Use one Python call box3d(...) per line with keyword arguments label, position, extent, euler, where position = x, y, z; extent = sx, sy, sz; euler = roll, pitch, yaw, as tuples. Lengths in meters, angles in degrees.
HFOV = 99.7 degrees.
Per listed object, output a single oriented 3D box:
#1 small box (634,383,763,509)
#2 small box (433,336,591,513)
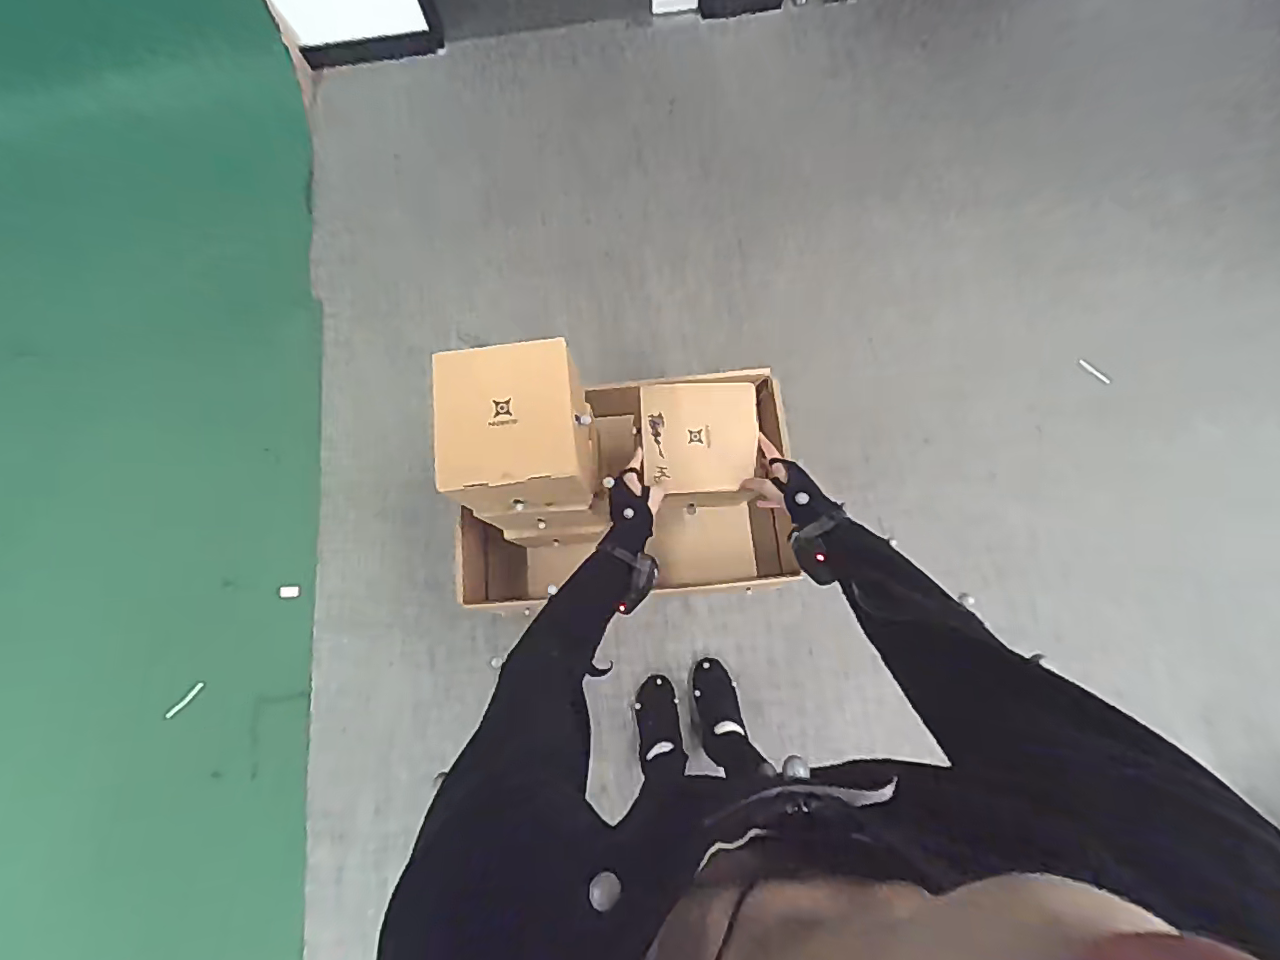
box3d(label="small box", position=(0.083, -0.047, 0.860), extent=(0.179, 0.176, 0.168), euler=(-1, 79, -3))
box3d(label="small box", position=(-0.159, -0.064, 0.709), extent=(0.168, 0.176, 0.179), euler=(-7, 77, 0))
